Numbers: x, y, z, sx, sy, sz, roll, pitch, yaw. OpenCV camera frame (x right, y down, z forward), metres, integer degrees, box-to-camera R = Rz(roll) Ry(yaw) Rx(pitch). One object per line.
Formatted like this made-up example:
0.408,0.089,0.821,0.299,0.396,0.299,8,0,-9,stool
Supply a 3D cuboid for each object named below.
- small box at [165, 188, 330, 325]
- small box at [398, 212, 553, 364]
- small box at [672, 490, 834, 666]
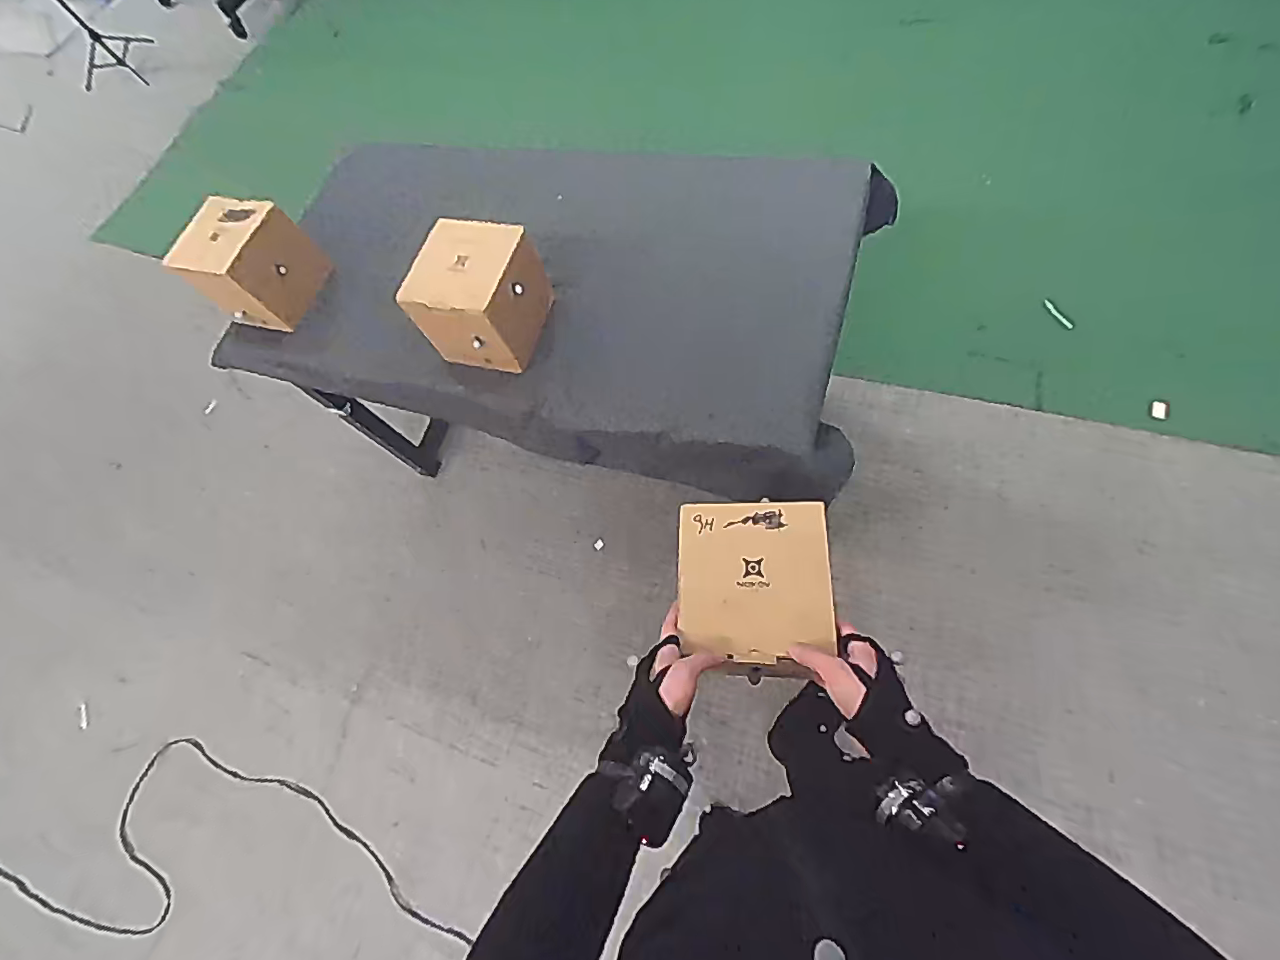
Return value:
-0.756,-0.439,1.068,0.168,0.176,0.179,13,71,16,small box
-0.267,-0.322,0.926,0.168,0.176,0.179,13,69,15,small box
0.135,0.124,0.652,0.168,0.176,0.179,-1,65,11,small box
